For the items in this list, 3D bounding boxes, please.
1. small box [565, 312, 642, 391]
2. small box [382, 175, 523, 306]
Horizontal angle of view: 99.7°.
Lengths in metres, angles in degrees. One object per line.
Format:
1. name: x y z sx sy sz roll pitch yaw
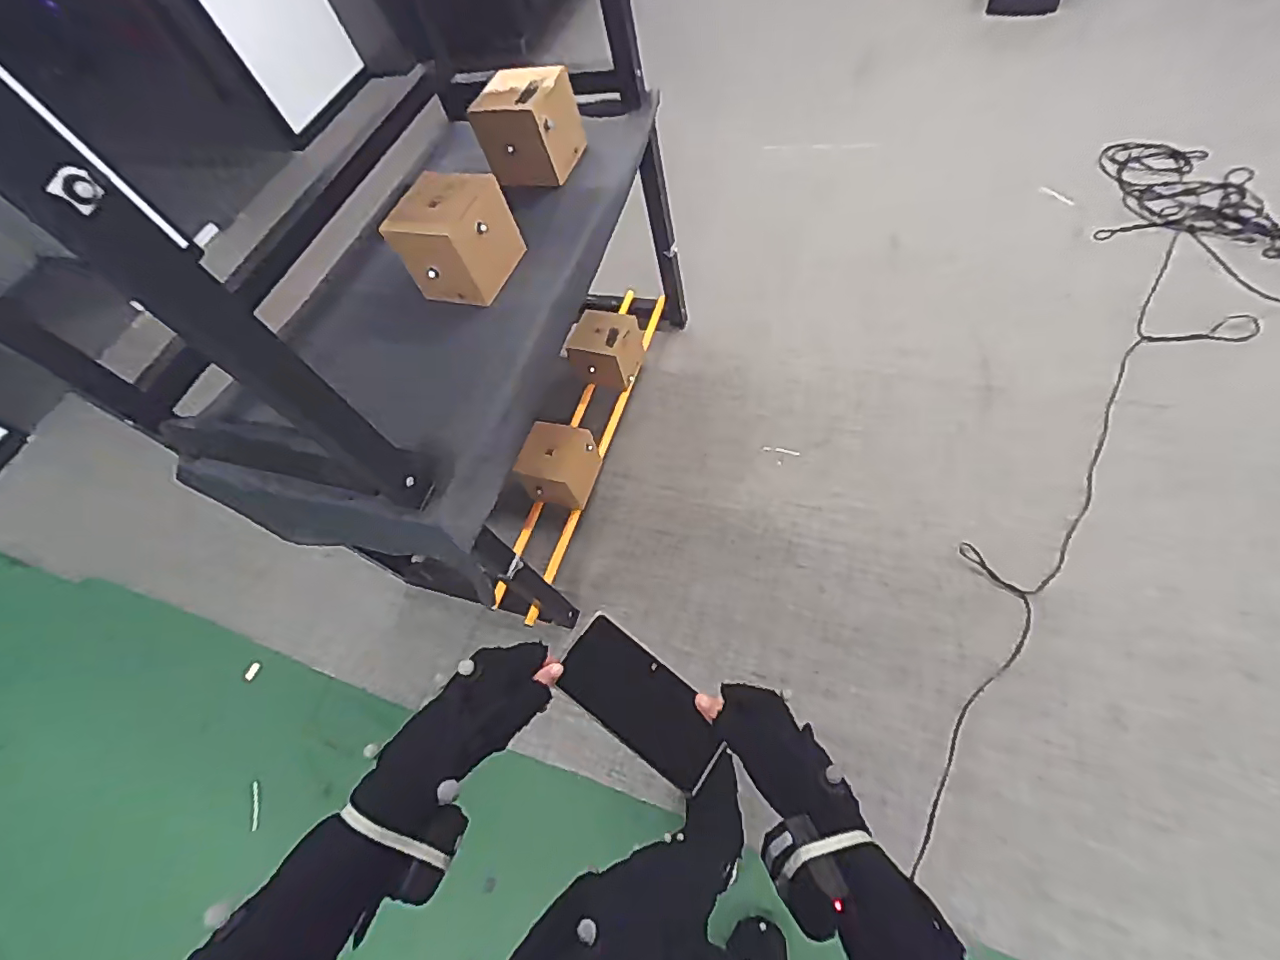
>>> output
1. small box: -0.107 -0.400 1.705 0.179 0.176 0.168 14 64 19
2. small box: -0.357 -0.470 1.069 0.168 0.176 0.179 14 64 20
